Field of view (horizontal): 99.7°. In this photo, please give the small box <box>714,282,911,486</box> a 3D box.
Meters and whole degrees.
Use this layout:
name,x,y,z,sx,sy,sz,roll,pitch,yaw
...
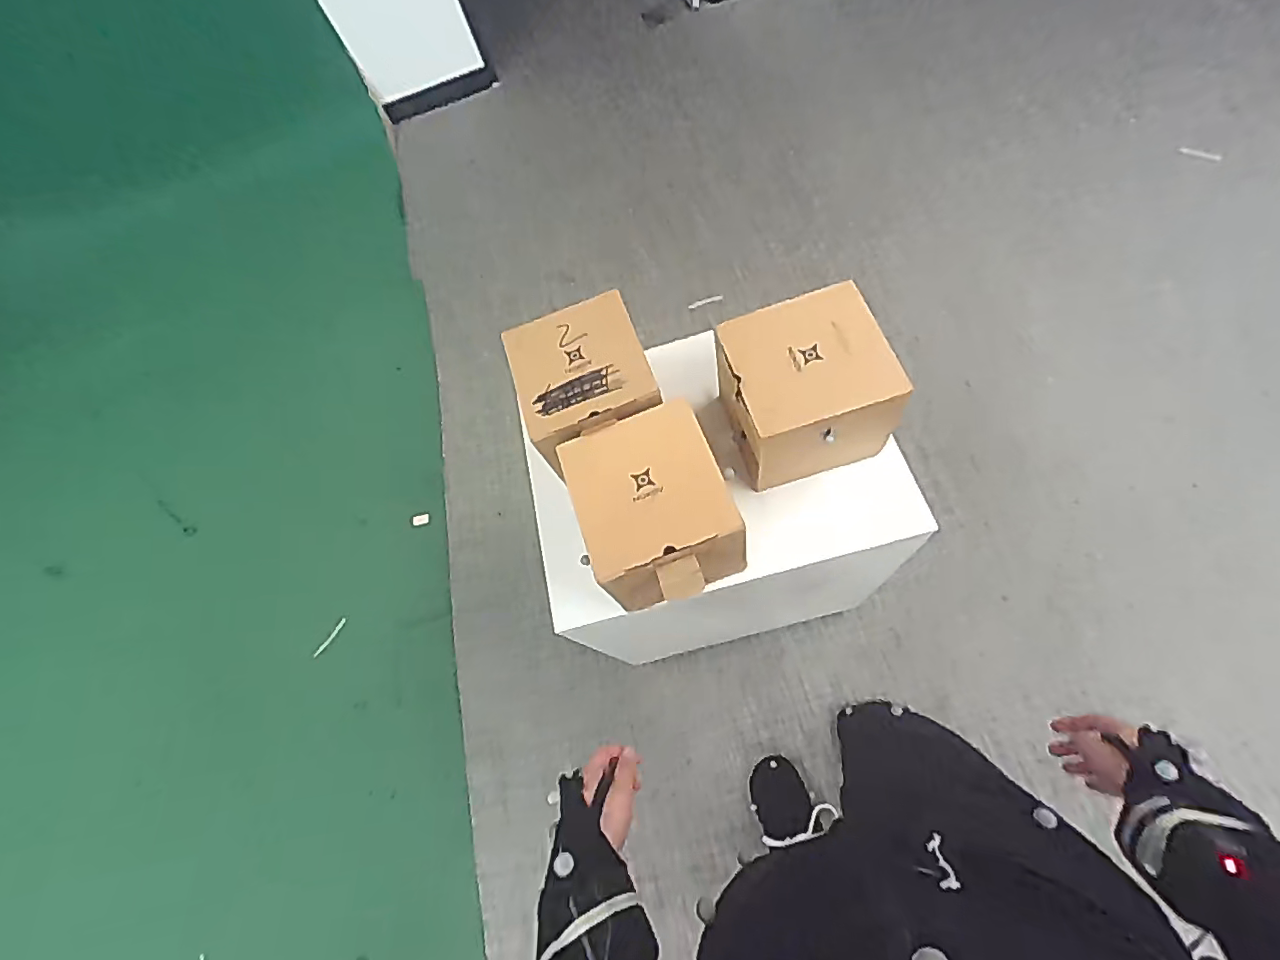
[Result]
name,x,y,z,sx,sy,sz,roll,pitch,yaw
small box,0.206,-0.110,0.688,0.179,0.176,0.168,-17,66,4
